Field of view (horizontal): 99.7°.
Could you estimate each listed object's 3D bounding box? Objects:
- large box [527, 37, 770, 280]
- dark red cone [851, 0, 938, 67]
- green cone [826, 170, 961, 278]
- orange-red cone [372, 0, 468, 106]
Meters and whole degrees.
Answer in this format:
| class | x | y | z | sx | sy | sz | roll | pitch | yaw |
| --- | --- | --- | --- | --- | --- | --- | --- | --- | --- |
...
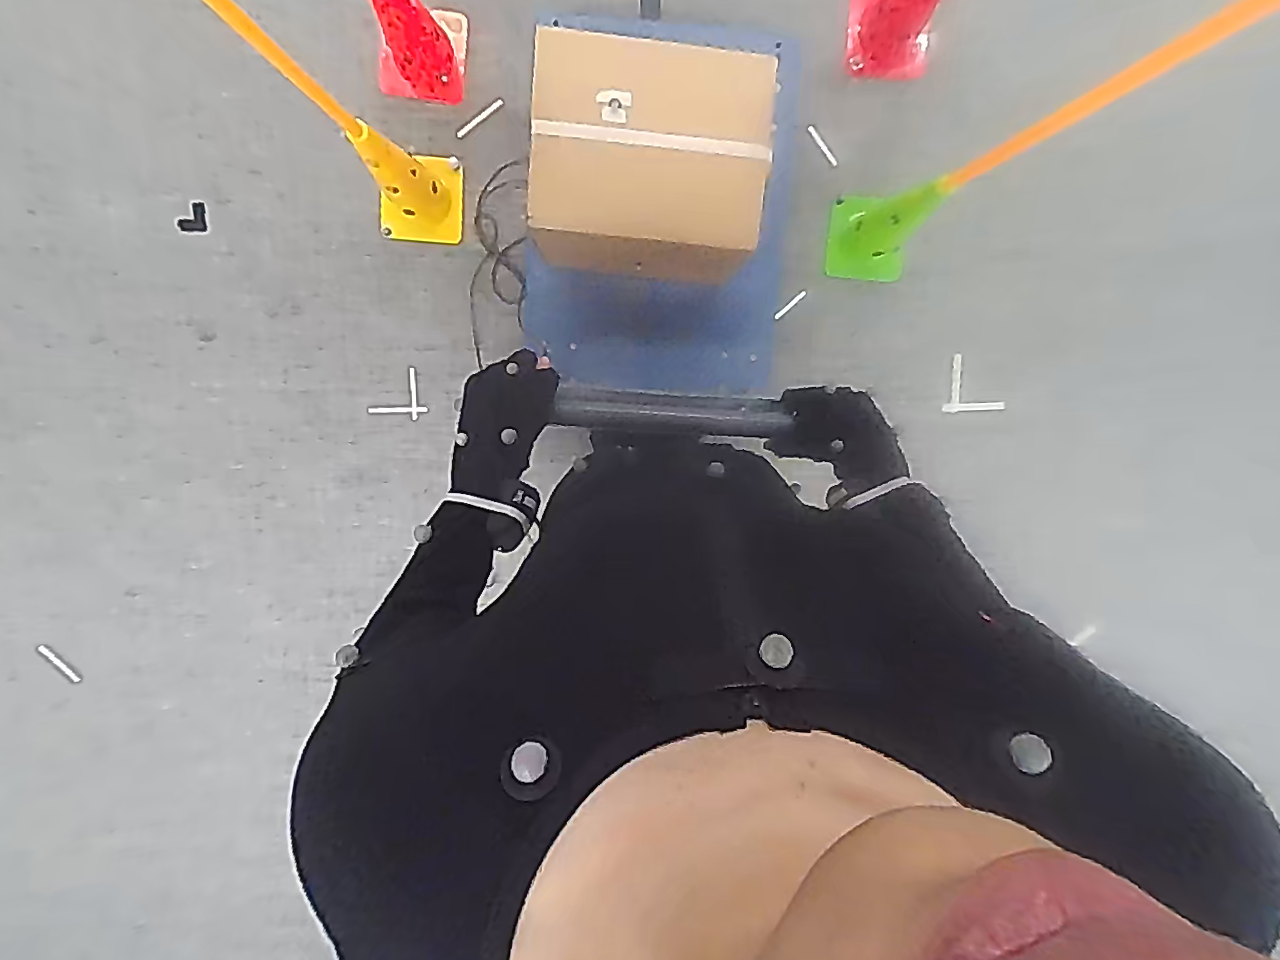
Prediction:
| class | x | y | z | sx | sy | sz | roll | pitch | yaw |
| --- | --- | --- | --- | --- | --- | --- | --- | --- | --- |
| large box | 0.010 | -0.593 | 1.067 | 0.408 | 0.320 | 0.320 | 5 | 98 | -2 |
| dark red cone | 0.619 | -1.083 | 1.141 | 0.201 | 0.394 | 0.202 | 0 | 99 | -4 |
| green cone | 0.595 | -0.607 | 1.231 | 0.202 | 0.368 | 0.200 | 4 | 98 | -4 |
| orange-red cone | -0.512 | -1.001 | 1.135 | 0.198 | 0.360 | 0.199 | 7 | 97 | -4 |
